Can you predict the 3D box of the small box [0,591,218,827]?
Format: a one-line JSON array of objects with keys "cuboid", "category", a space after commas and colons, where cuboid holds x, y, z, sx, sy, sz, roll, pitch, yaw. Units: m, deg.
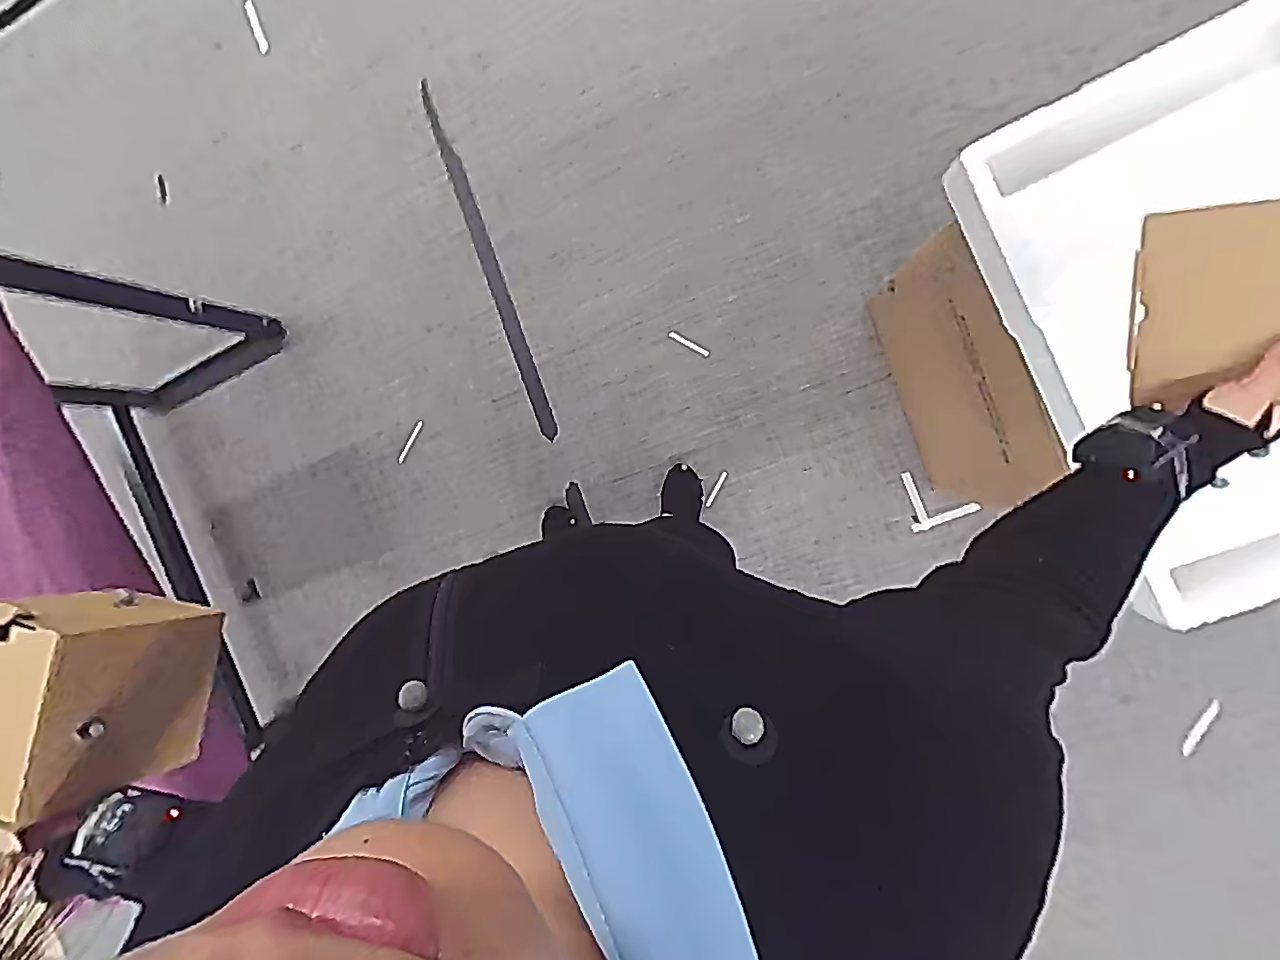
[{"cuboid": [-0.606, 0.225, 0.582, 0.168, 0.176, 0.179, 7, 84, 11], "category": "small box"}]
